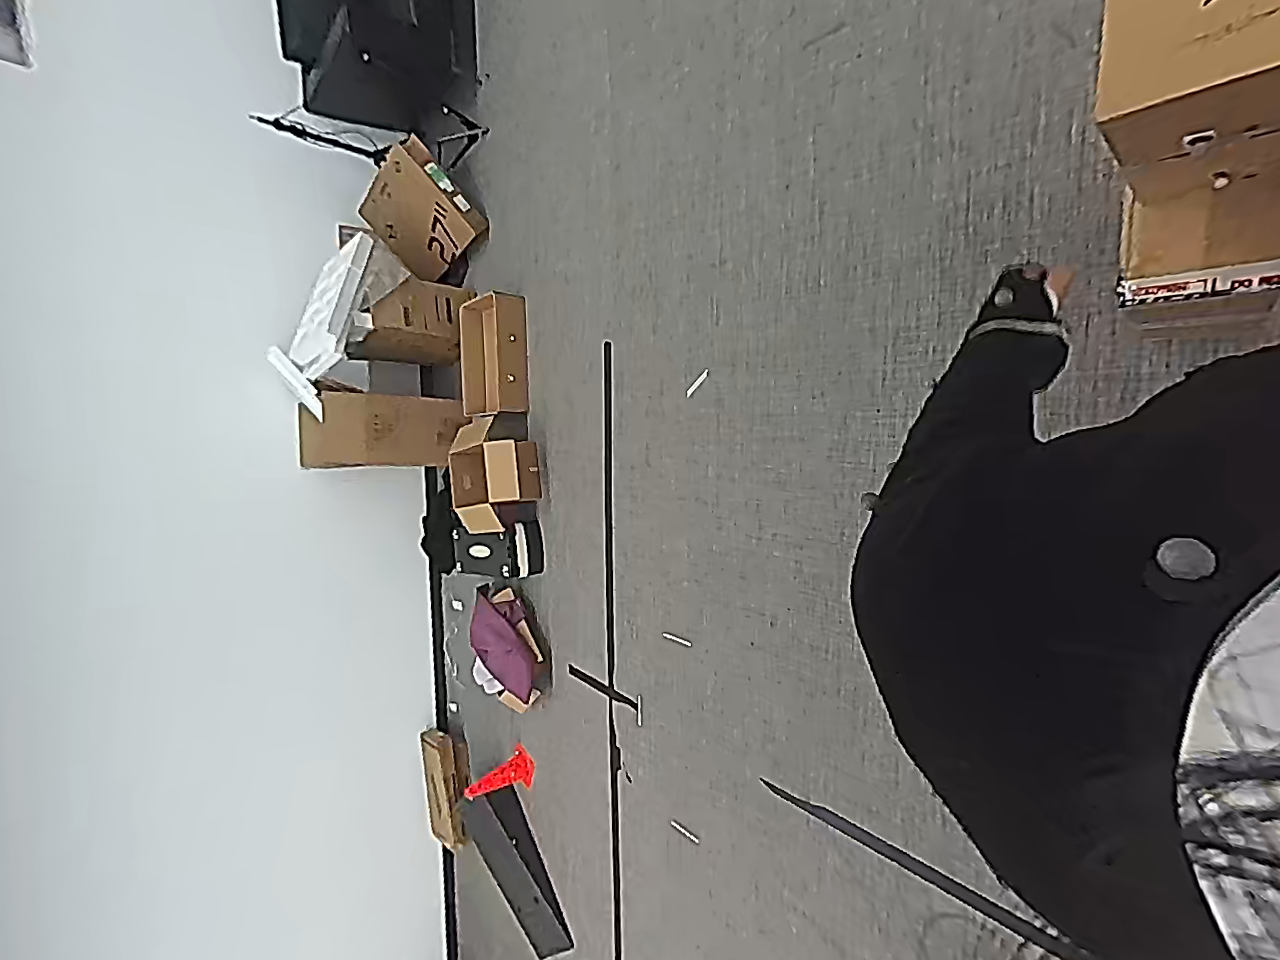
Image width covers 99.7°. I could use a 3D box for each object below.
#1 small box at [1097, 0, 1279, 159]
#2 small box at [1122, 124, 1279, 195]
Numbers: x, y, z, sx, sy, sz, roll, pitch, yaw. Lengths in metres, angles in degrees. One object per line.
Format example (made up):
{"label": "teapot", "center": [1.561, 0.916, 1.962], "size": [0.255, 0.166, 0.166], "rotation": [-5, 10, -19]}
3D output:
{"label": "small box", "center": [0.570, -0.449, 0.523], "size": [0.168, 0.176, 0.179], "rotation": [7, 101, 49]}
{"label": "small box", "center": [0.691, -0.465, 0.630], "size": [0.168, 0.176, 0.179], "rotation": [7, 101, 49]}
